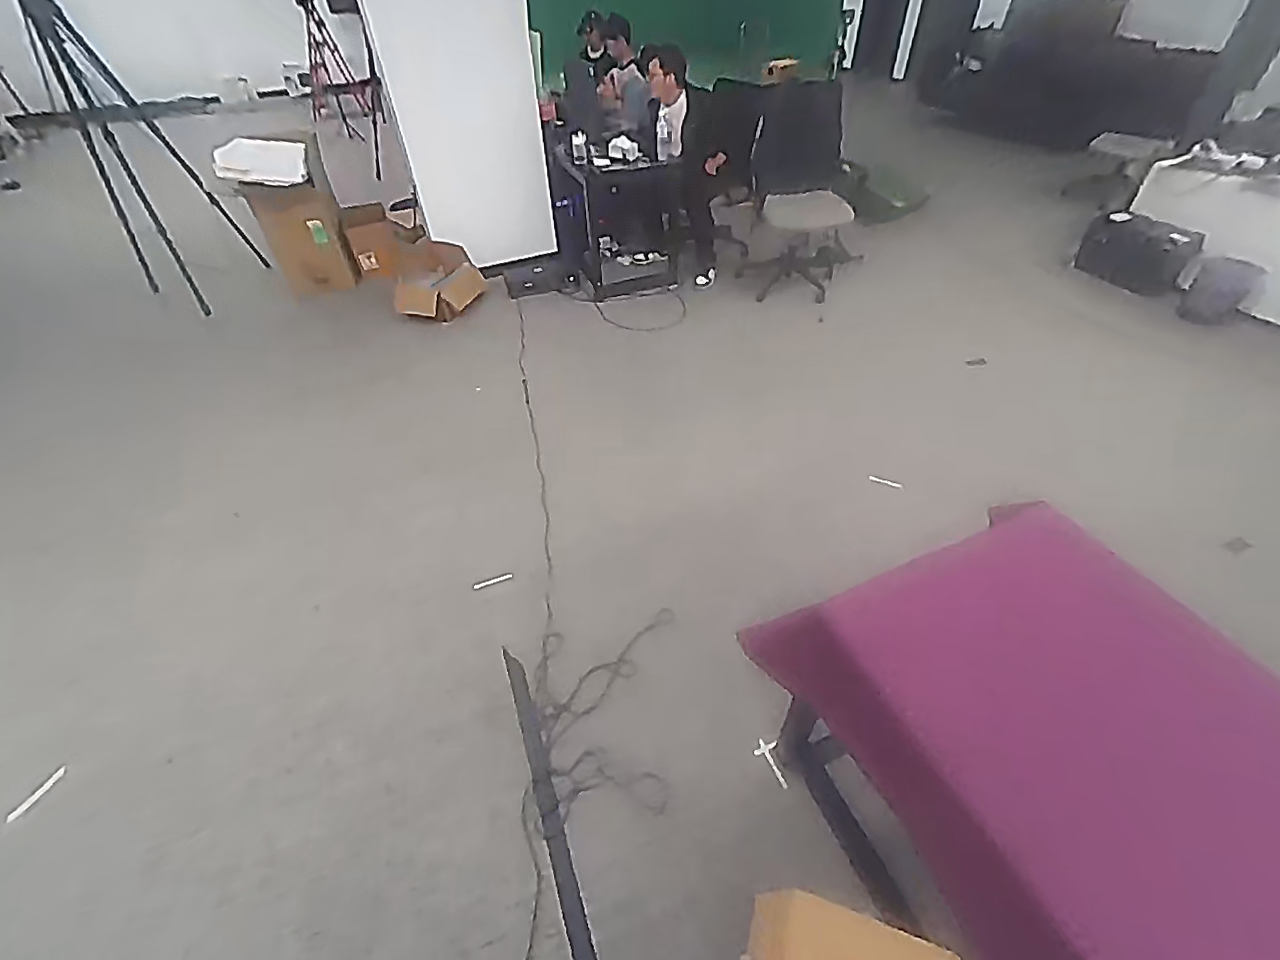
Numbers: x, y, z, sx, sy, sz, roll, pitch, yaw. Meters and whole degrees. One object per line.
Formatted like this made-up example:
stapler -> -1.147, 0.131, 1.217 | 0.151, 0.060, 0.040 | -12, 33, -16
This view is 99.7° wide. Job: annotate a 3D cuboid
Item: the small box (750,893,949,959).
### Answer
small box -> 0.227, 0.603, 0.616 | 0.179, 0.176, 0.168 | 19, 51, 9
